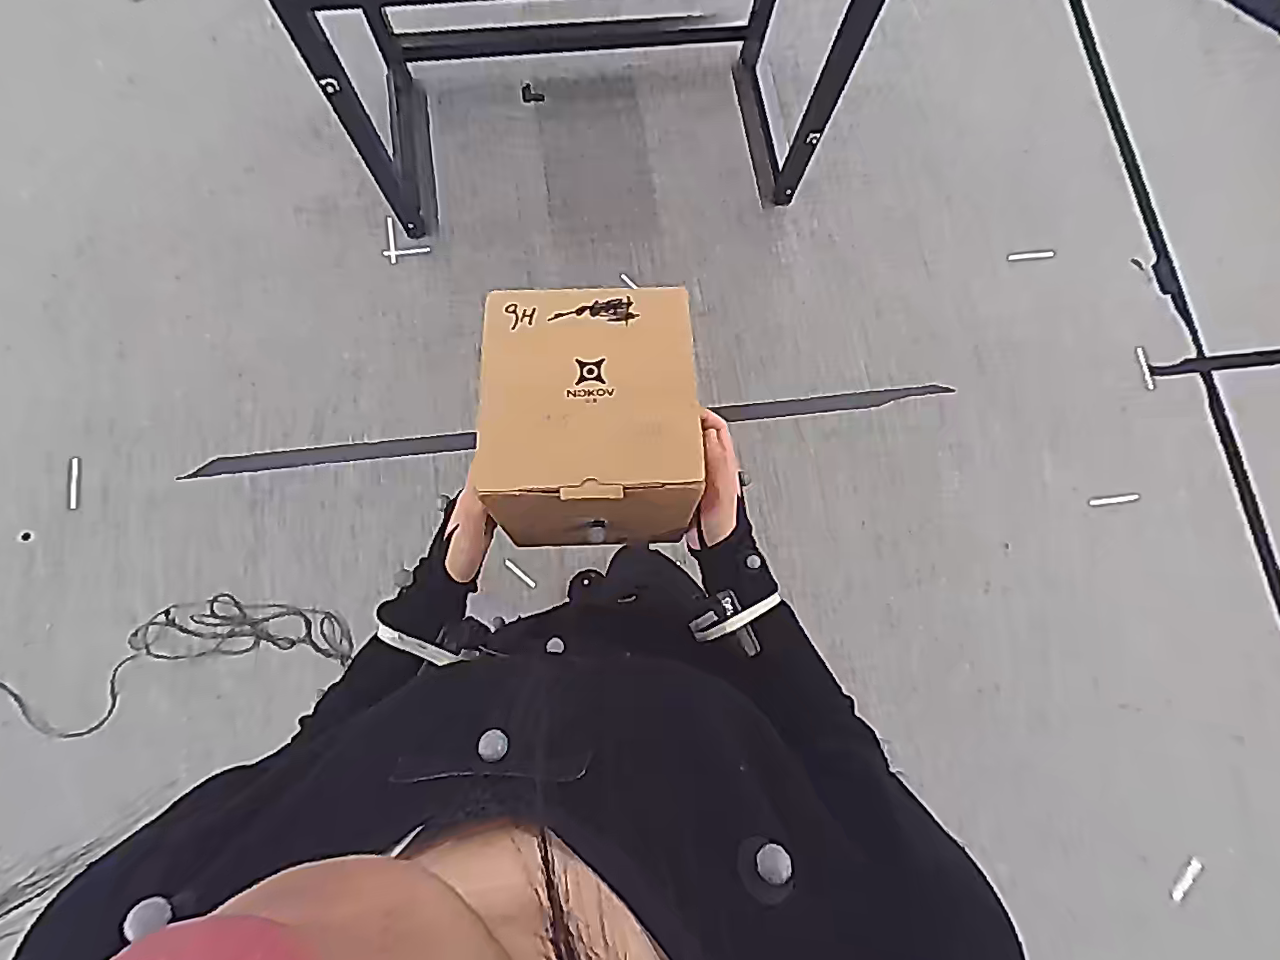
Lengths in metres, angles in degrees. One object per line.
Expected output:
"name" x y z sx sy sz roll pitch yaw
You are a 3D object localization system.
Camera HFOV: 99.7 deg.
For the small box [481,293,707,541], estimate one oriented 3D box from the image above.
"small box" -0.037 -0.043 0.485 0.168 0.176 0.179 -1 71 -3
